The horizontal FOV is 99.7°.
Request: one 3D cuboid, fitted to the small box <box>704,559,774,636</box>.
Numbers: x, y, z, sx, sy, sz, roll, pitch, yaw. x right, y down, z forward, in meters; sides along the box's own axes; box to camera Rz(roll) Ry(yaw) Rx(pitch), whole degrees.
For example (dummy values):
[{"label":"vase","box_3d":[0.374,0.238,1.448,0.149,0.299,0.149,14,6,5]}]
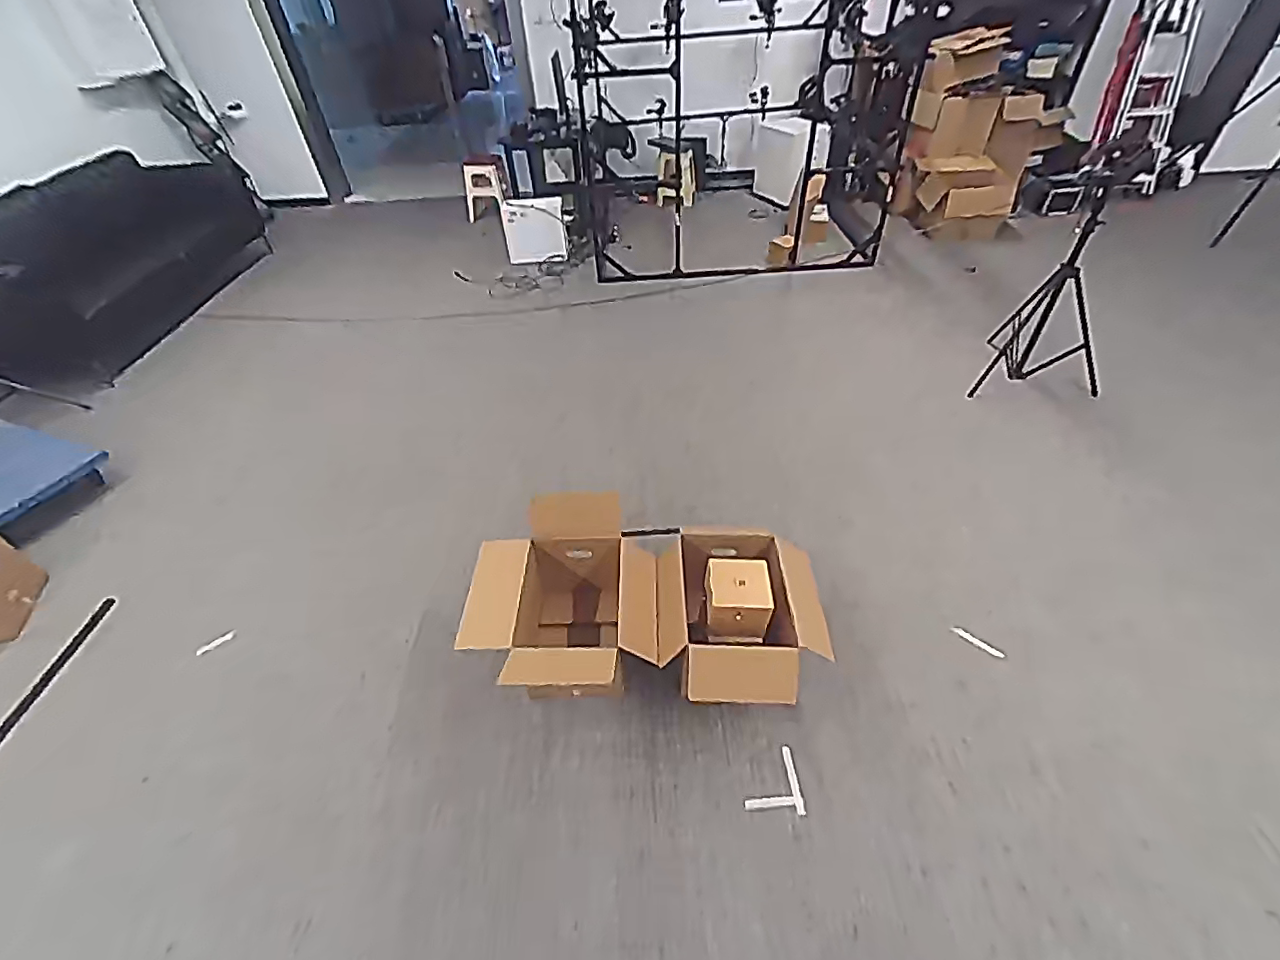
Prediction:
[{"label":"small box","box_3d":[0.290,0.353,1.619,0.179,0.176,0.168,1,46,1]}]
